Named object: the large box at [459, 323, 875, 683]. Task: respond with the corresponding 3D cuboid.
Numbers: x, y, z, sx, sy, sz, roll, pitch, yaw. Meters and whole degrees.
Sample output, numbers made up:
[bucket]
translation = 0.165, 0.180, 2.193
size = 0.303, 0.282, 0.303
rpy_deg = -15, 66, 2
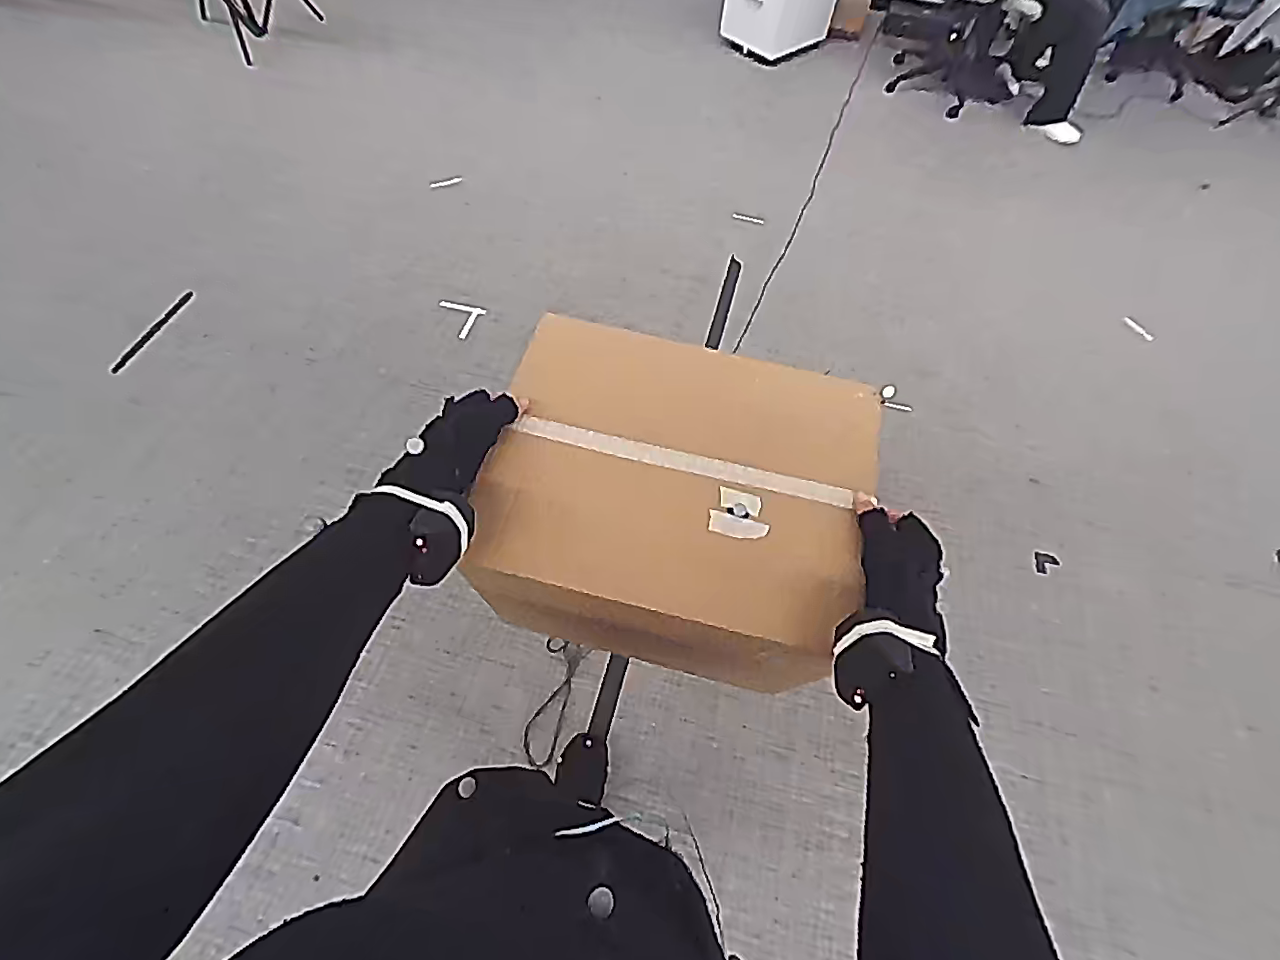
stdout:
[large box]
translation = 0.039, 0.048, 0.712
size = 0.408, 0.320, 0.320
rpy_deg = 14, 65, 4
